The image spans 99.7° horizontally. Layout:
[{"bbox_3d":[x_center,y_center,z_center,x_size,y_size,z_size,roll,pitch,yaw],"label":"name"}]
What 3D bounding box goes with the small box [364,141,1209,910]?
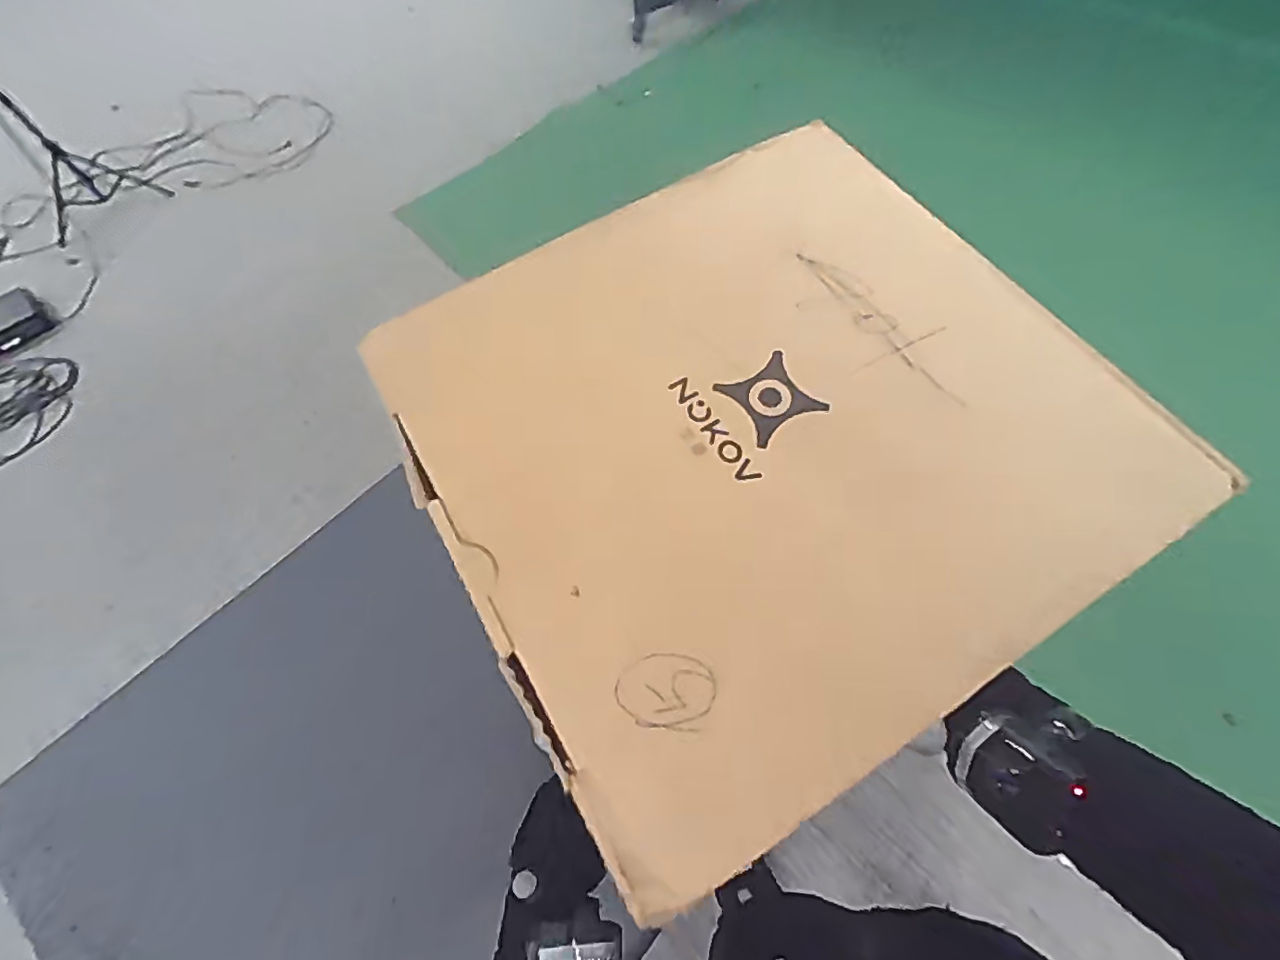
[{"bbox_3d":[0.033,0.015,0.222,0.179,0.176,0.168,-29,70,-11],"label":"small box"}]
